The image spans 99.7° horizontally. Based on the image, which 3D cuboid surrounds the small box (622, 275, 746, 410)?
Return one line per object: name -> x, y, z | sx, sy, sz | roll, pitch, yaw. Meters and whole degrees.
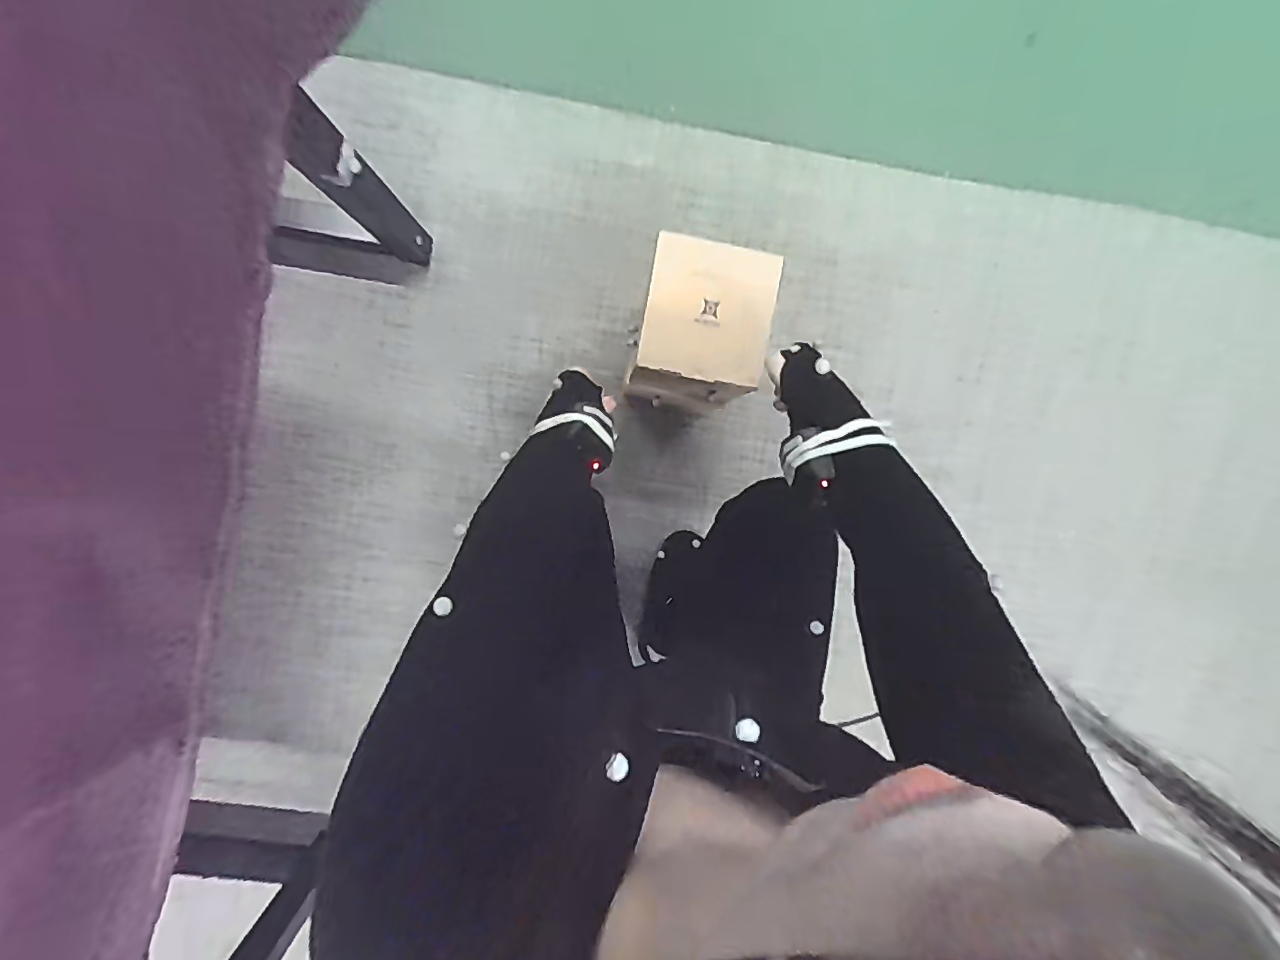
small box -> 0.067, -0.225, 0.938 | 0.168, 0.176, 0.179 | 13, 93, -5
